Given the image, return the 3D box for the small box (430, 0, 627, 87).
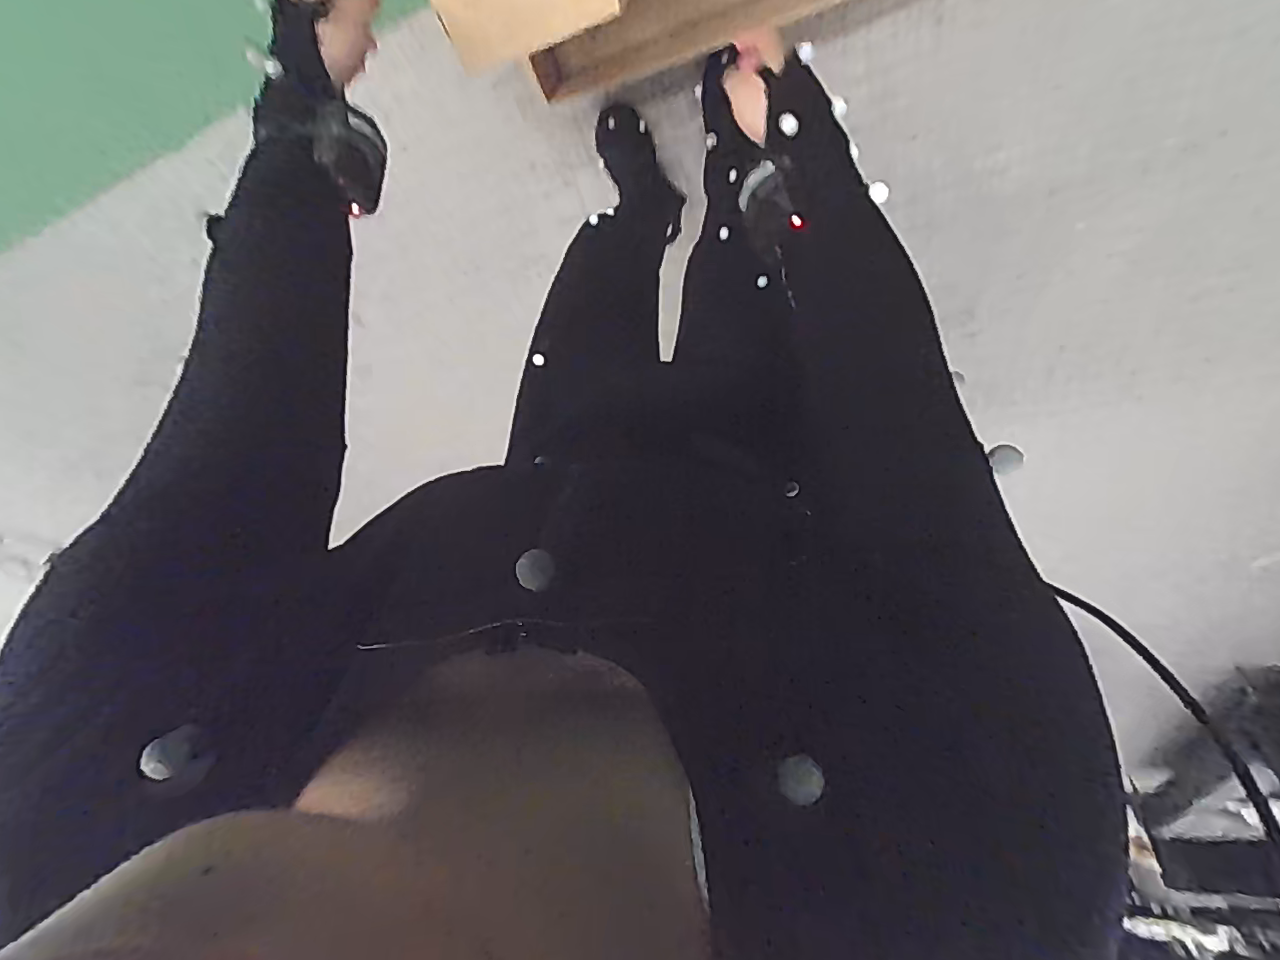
[{"bbox_3d":[-0.117,-0.539,0.537,0.179,0.176,0.168,-9,139,18],"label":"small box"}]
